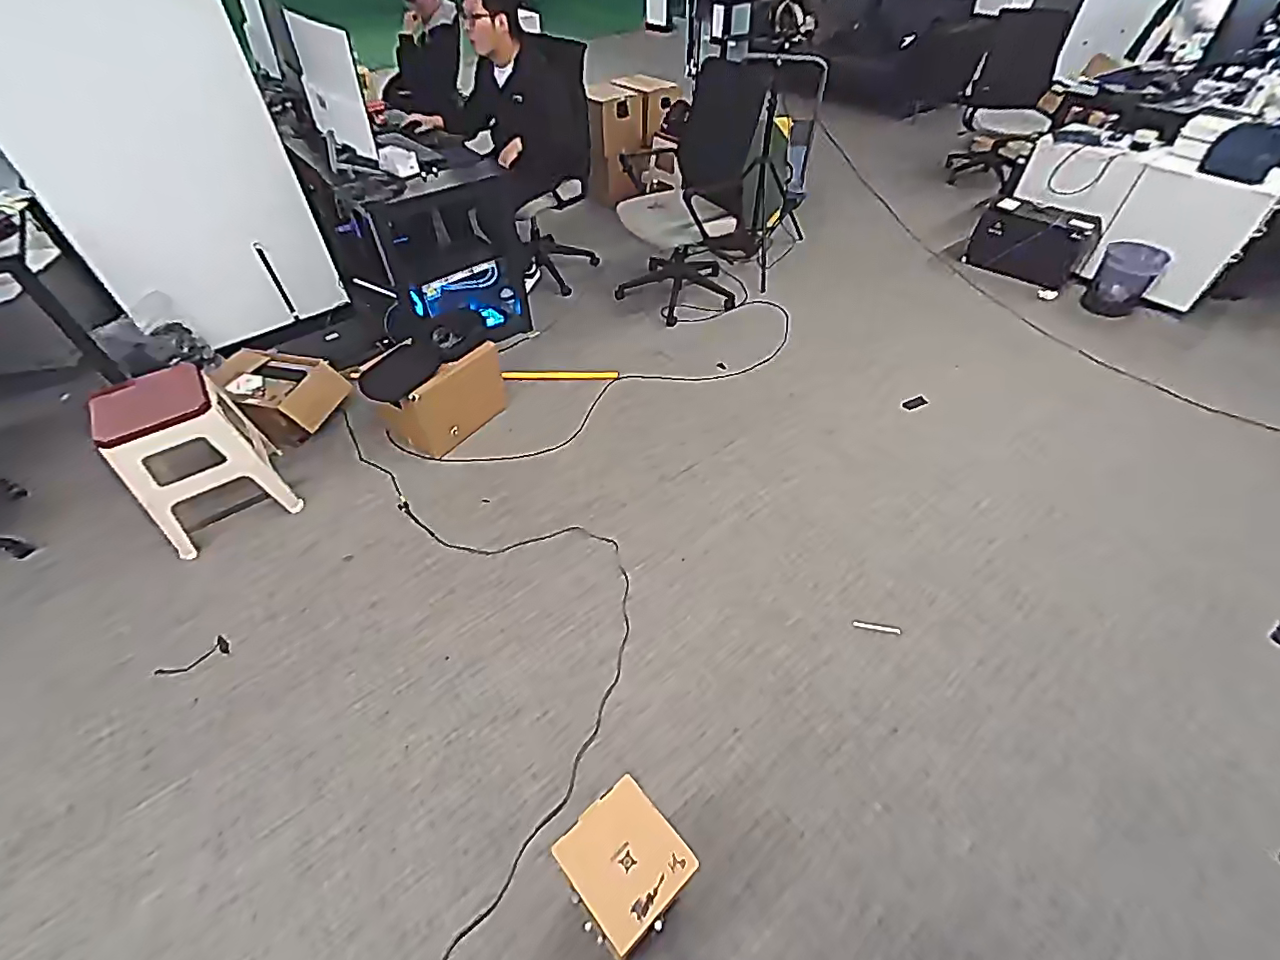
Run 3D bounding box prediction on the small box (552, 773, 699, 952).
[{"bbox_3d":[-0.025,0.637,0.898,0.168,0.176,0.179,-34,56,-27],"label":"small box"}]
